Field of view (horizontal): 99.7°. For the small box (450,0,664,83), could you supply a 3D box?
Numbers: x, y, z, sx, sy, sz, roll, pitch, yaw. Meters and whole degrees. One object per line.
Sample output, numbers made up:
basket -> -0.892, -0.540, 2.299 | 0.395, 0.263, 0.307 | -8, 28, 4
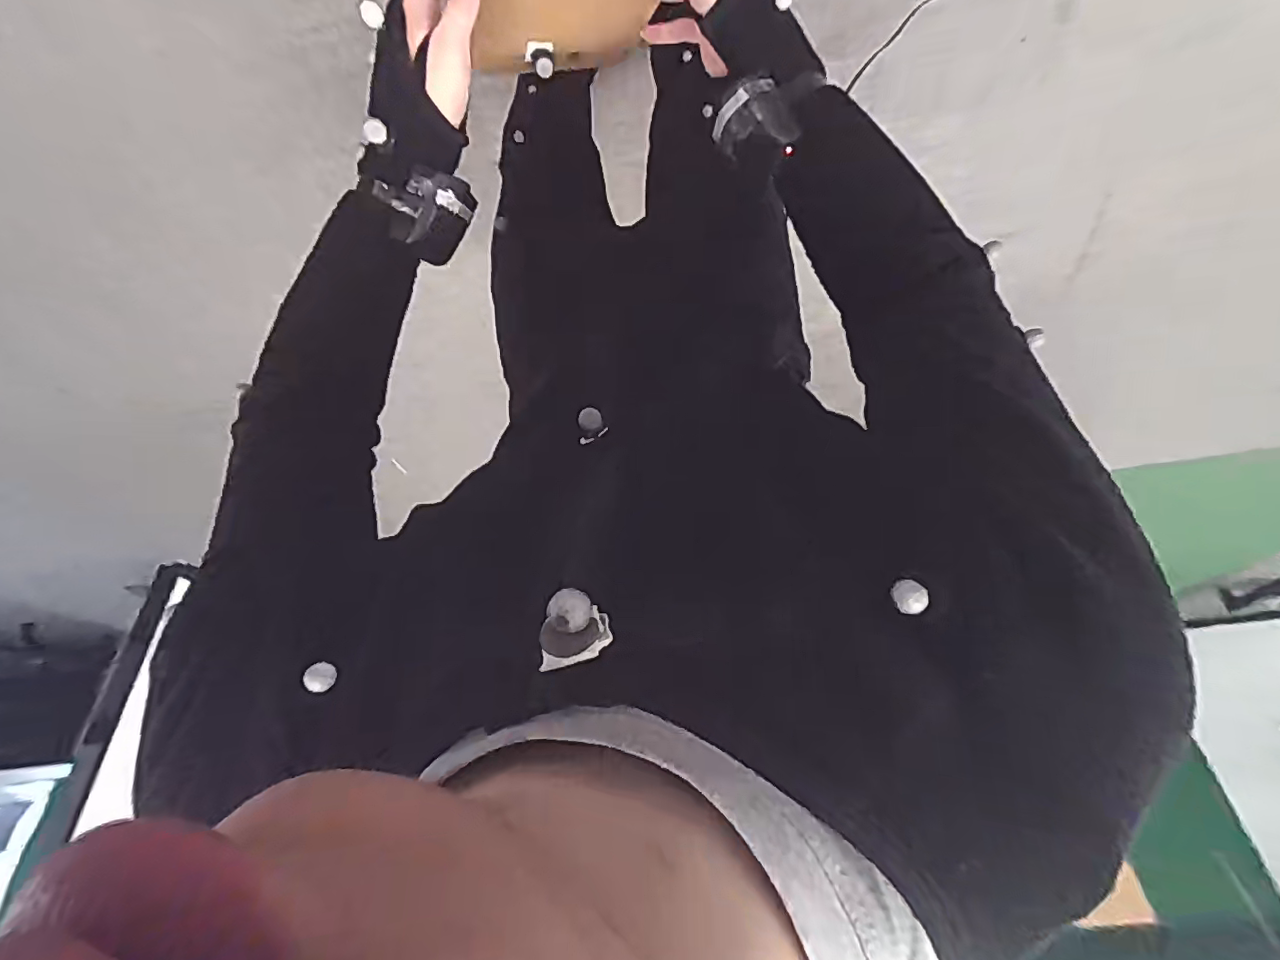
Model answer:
small box -> -0.080, -0.466, 0.437 | 0.168, 0.176, 0.179 | -17, 105, -14

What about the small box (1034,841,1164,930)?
small box -> 1.199, 1.063, 1.431 | 0.179, 0.176, 0.168 | -12, 145, 8
